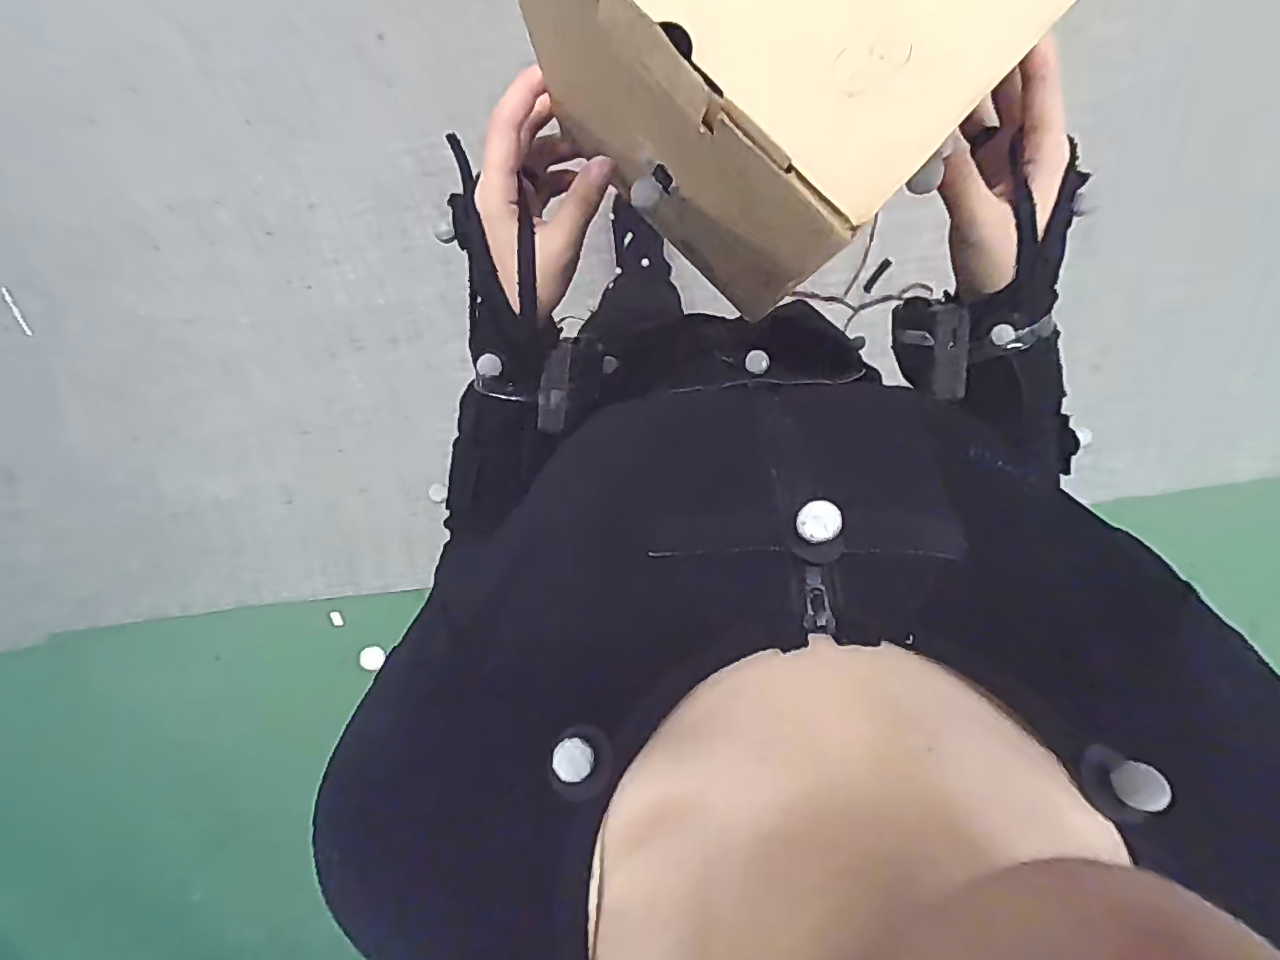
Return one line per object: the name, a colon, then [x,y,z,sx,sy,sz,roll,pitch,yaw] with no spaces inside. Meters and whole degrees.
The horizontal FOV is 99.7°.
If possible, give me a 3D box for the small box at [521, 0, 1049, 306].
small box: [0.066,-0.209,0.251,0.168,0.176,0.179,42,96,-3]
